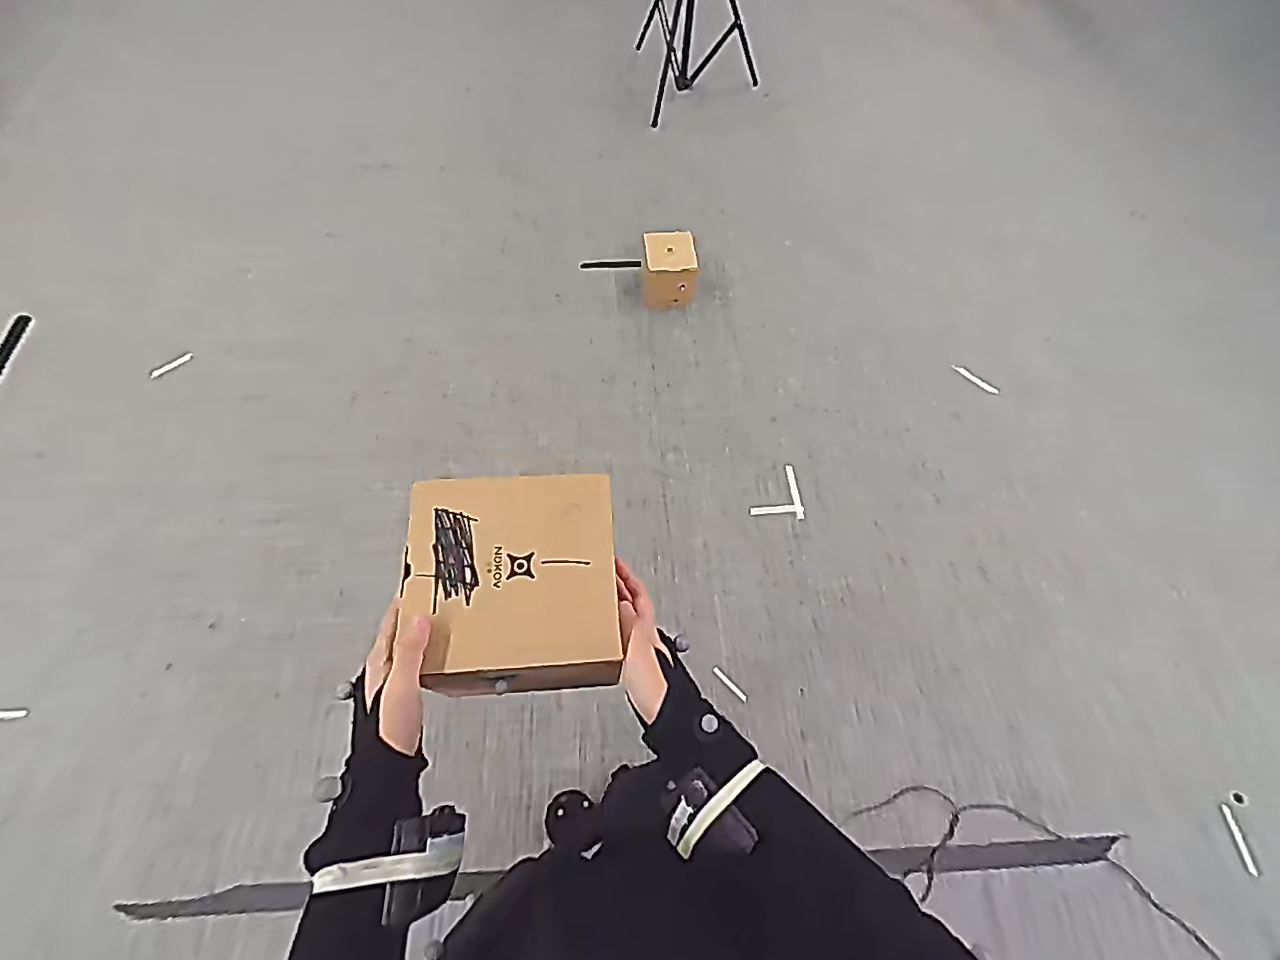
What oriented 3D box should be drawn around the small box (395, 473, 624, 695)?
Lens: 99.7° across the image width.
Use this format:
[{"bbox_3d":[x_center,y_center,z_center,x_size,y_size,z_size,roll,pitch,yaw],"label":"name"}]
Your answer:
[{"bbox_3d":[-0.106,0.106,0.516,0.179,0.176,0.168,-3,63,-5],"label":"small box"}]
